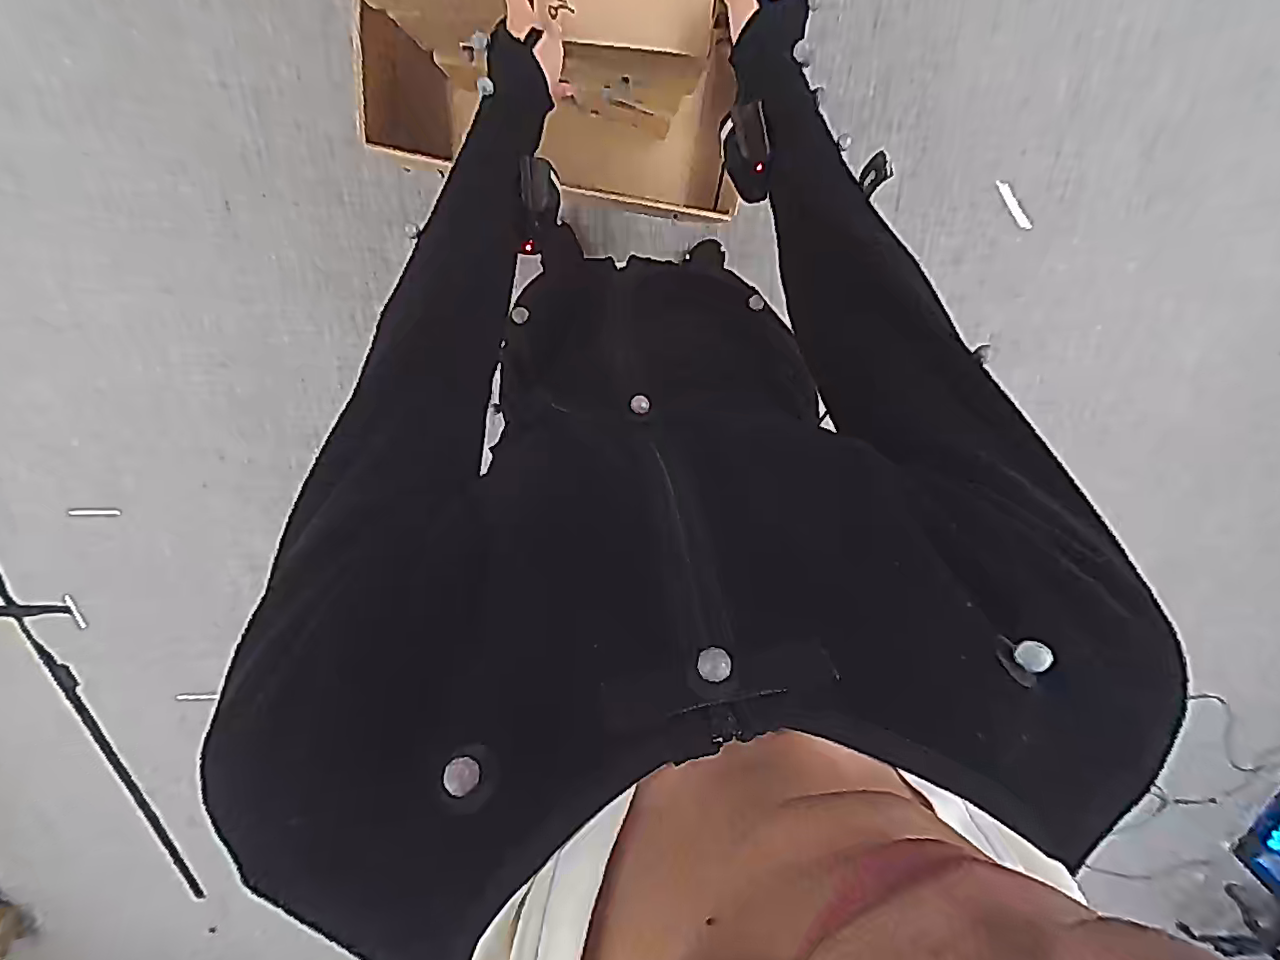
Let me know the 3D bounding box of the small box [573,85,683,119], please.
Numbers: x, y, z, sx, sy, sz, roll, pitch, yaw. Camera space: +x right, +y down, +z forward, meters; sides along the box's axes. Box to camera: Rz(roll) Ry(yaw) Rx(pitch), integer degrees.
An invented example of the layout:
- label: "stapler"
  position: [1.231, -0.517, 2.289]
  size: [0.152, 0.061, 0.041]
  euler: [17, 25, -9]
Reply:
- label: "small box"
  position: [-0.006, -0.603, 0.708]
  size: [0.168, 0.176, 0.179]
  euler: [12, 114, -6]

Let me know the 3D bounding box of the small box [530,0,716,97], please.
- label: "small box"
  position: [-0.014, -0.522, 0.566]
  size: [0.179, 0.176, 0.168]
  euler: [5, 115, -3]
